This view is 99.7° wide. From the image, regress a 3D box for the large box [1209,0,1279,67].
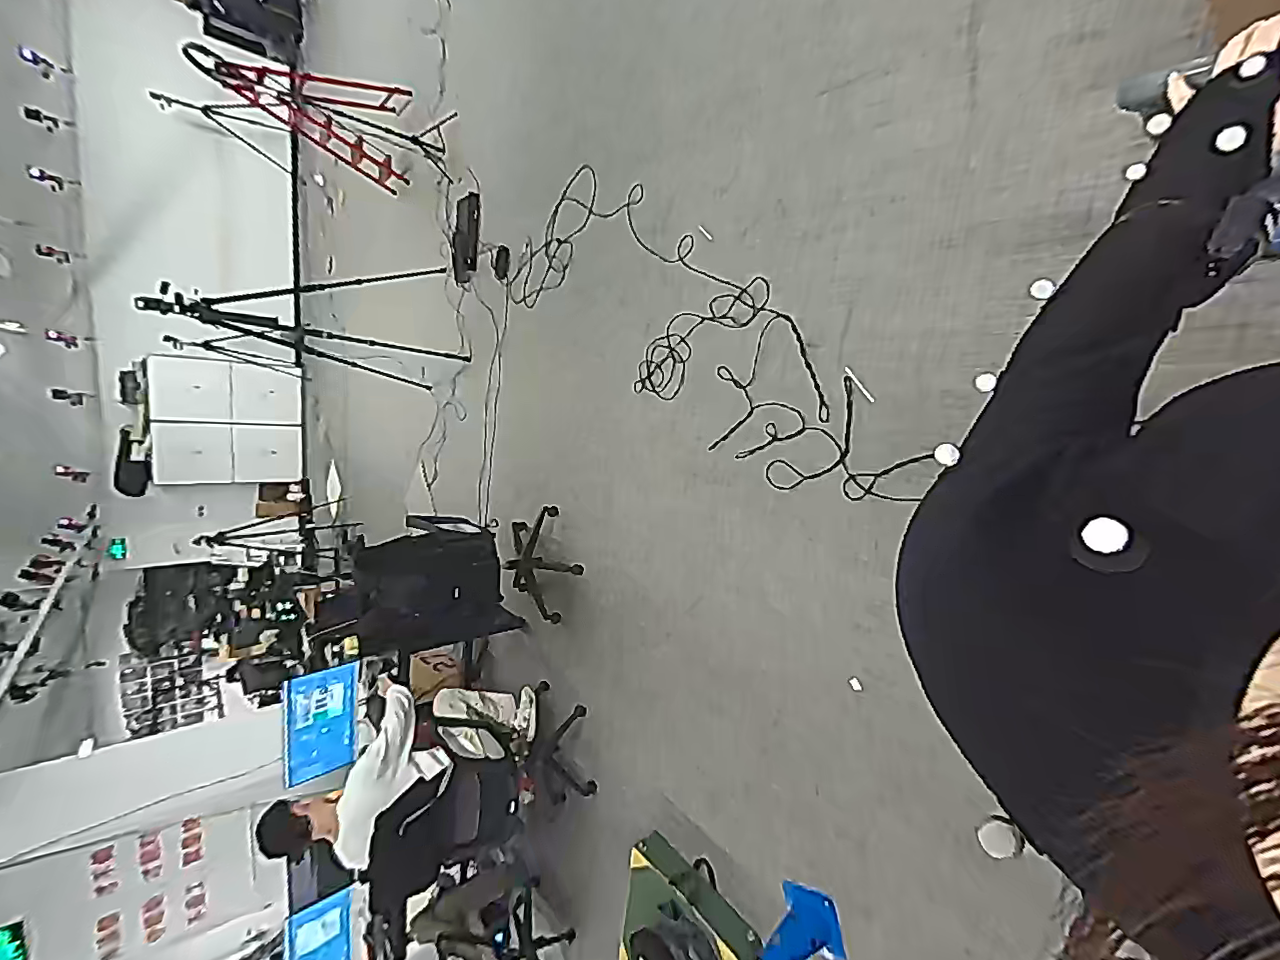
[{"bbox_3d":[1.029,-0.805,0.666,0.408,0.320,0.320,21,108,45],"label":"large box"}]
